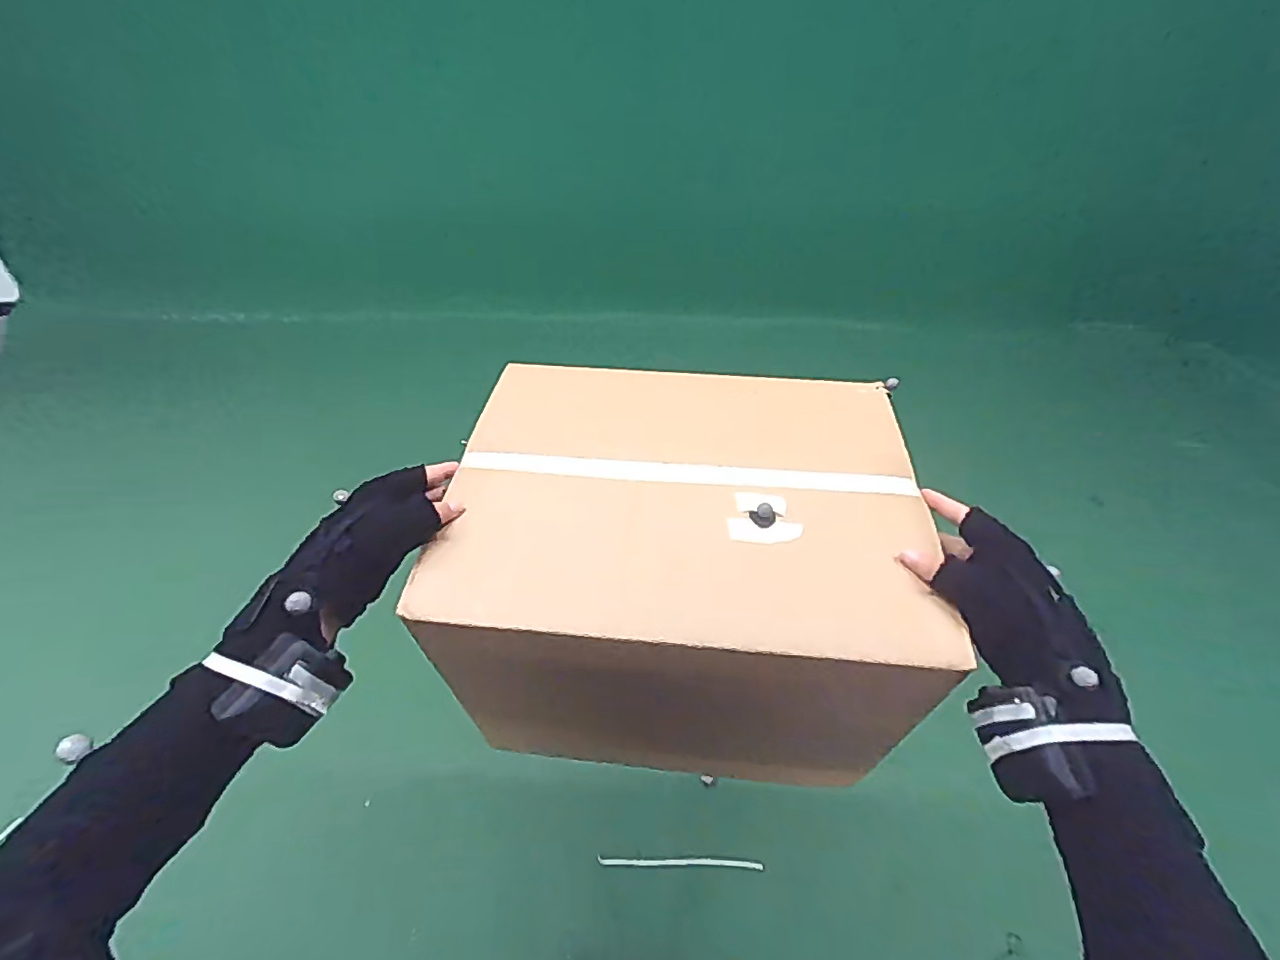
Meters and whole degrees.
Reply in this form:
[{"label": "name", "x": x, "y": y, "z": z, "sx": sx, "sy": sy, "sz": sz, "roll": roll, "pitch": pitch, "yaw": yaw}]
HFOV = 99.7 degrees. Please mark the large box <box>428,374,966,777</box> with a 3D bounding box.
[{"label": "large box", "x": 0.047, "y": 0.105, "z": 0.601, "sx": 0.408, "sy": 0.320, "sz": 0.320, "roll": 5, "pitch": 48, "yaw": 4}]
